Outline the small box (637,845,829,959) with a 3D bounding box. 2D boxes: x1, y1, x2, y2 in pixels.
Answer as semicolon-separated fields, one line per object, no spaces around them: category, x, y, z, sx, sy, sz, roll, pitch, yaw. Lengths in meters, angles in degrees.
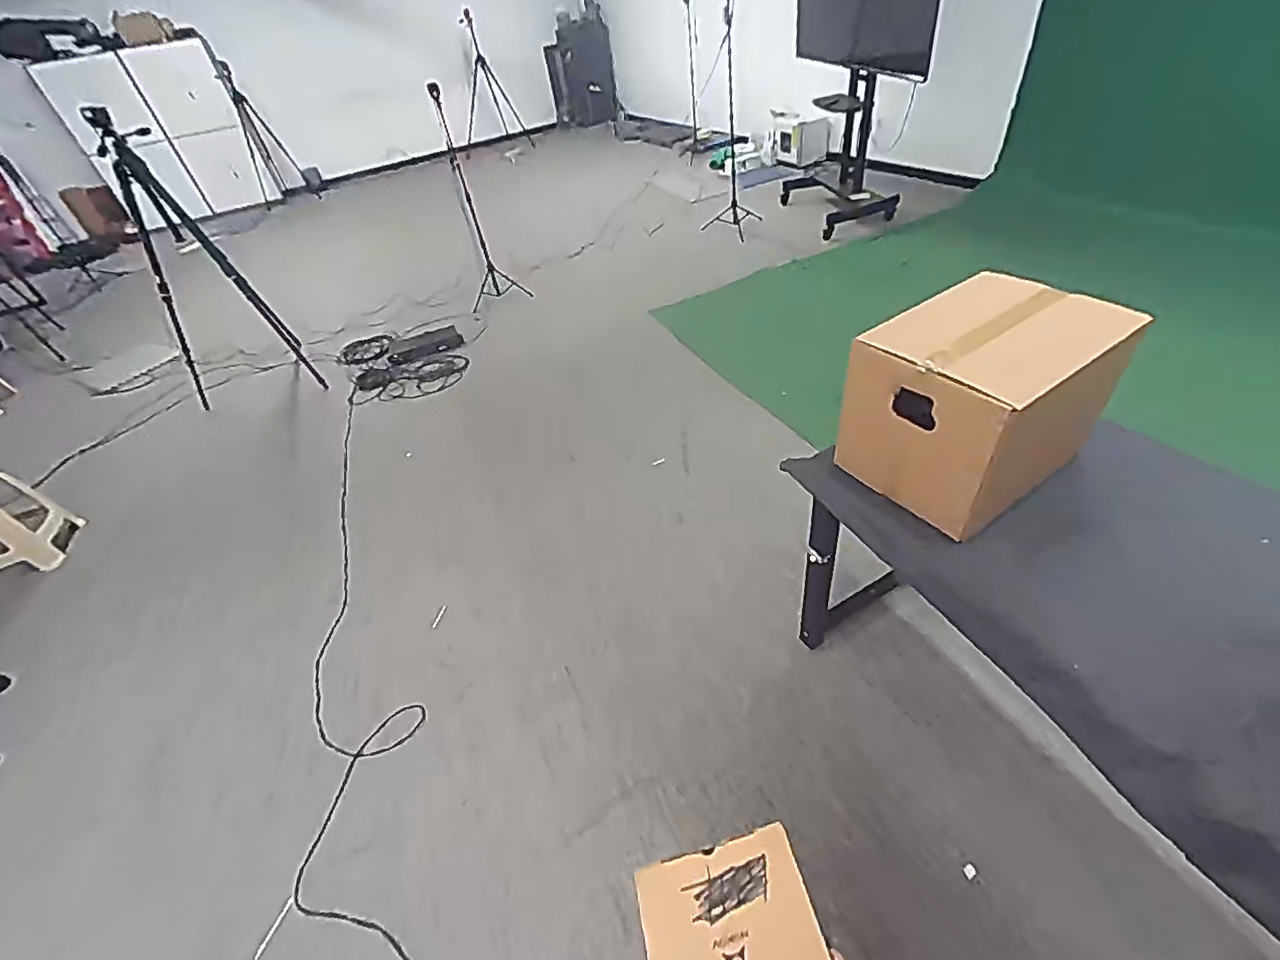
small box;0.108;0.505;0.538;0.168;0.176;0.179;-19;43;1
